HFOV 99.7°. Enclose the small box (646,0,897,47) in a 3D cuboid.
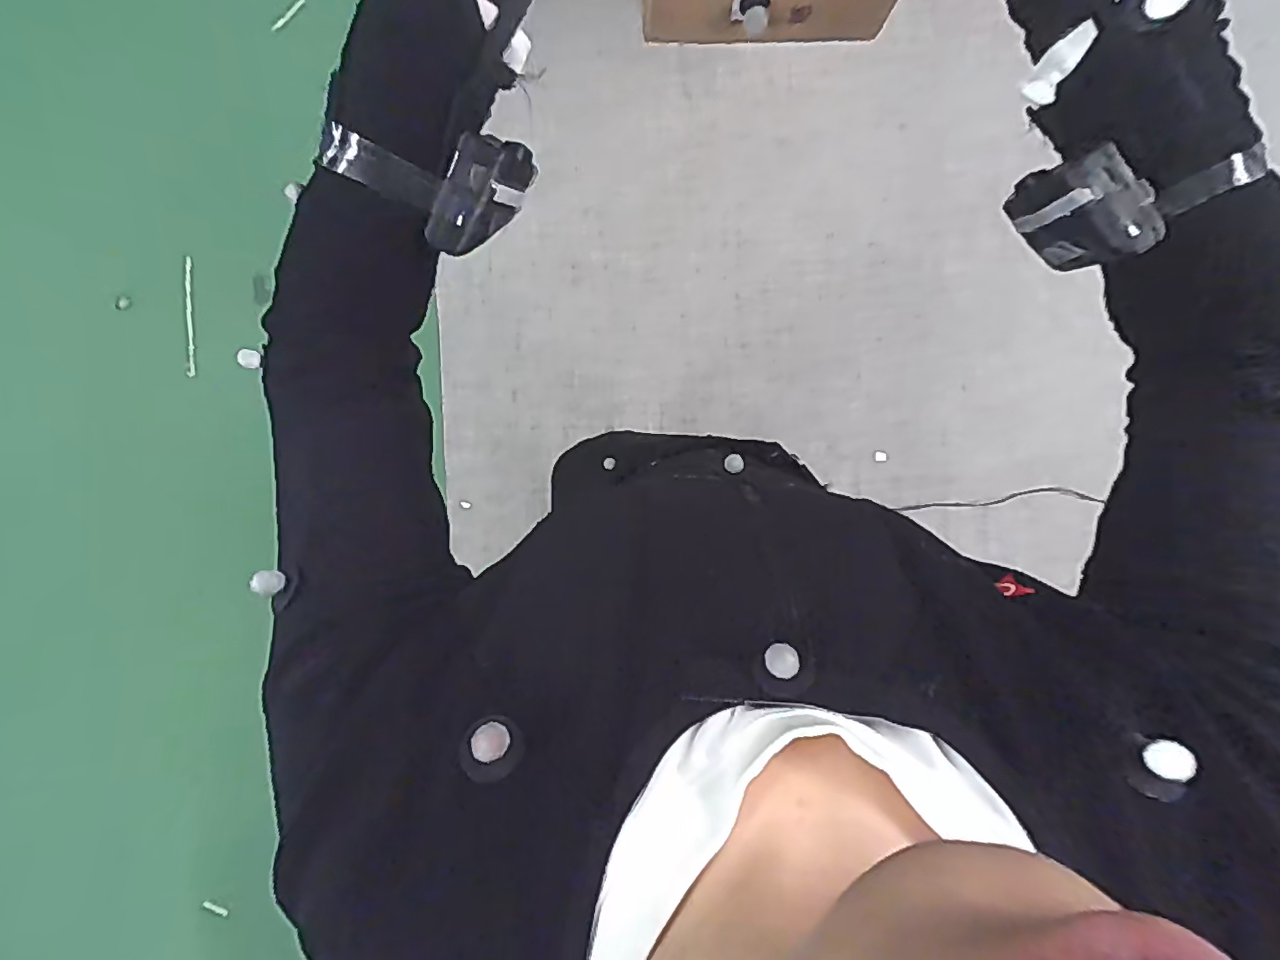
[{"bbox_3d":[0.085,-0.387,0.292,0.168,0.176,0.179,-1,92,0],"label":"small box"}]
